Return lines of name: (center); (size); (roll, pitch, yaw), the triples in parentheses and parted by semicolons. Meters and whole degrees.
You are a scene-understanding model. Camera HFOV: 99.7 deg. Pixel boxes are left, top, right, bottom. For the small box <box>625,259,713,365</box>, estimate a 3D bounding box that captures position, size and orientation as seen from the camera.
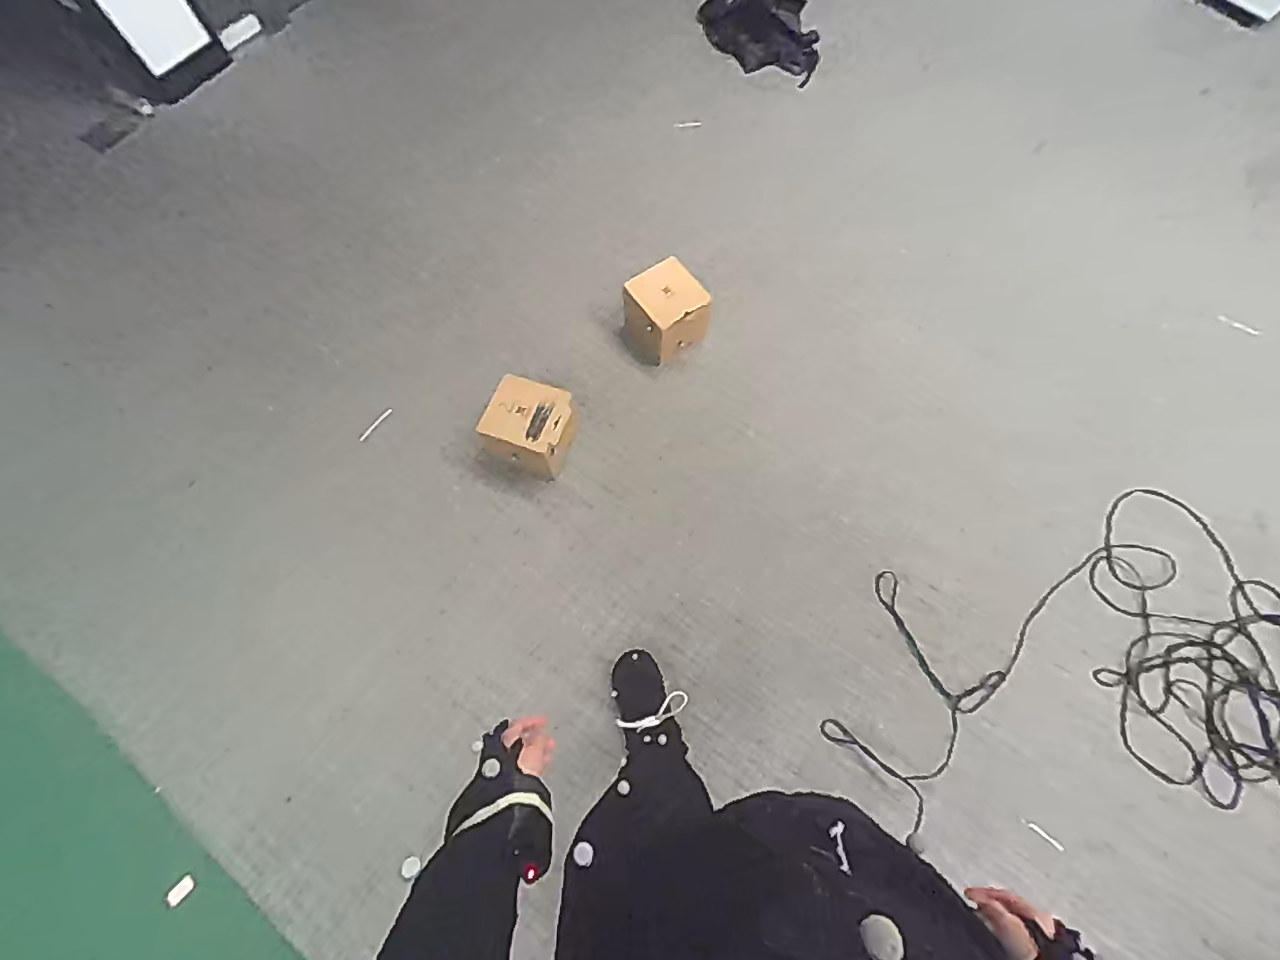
small box: (0.071, -0.445, 1.453); (0.168, 0.176, 0.179); (-34, 73, -13)
